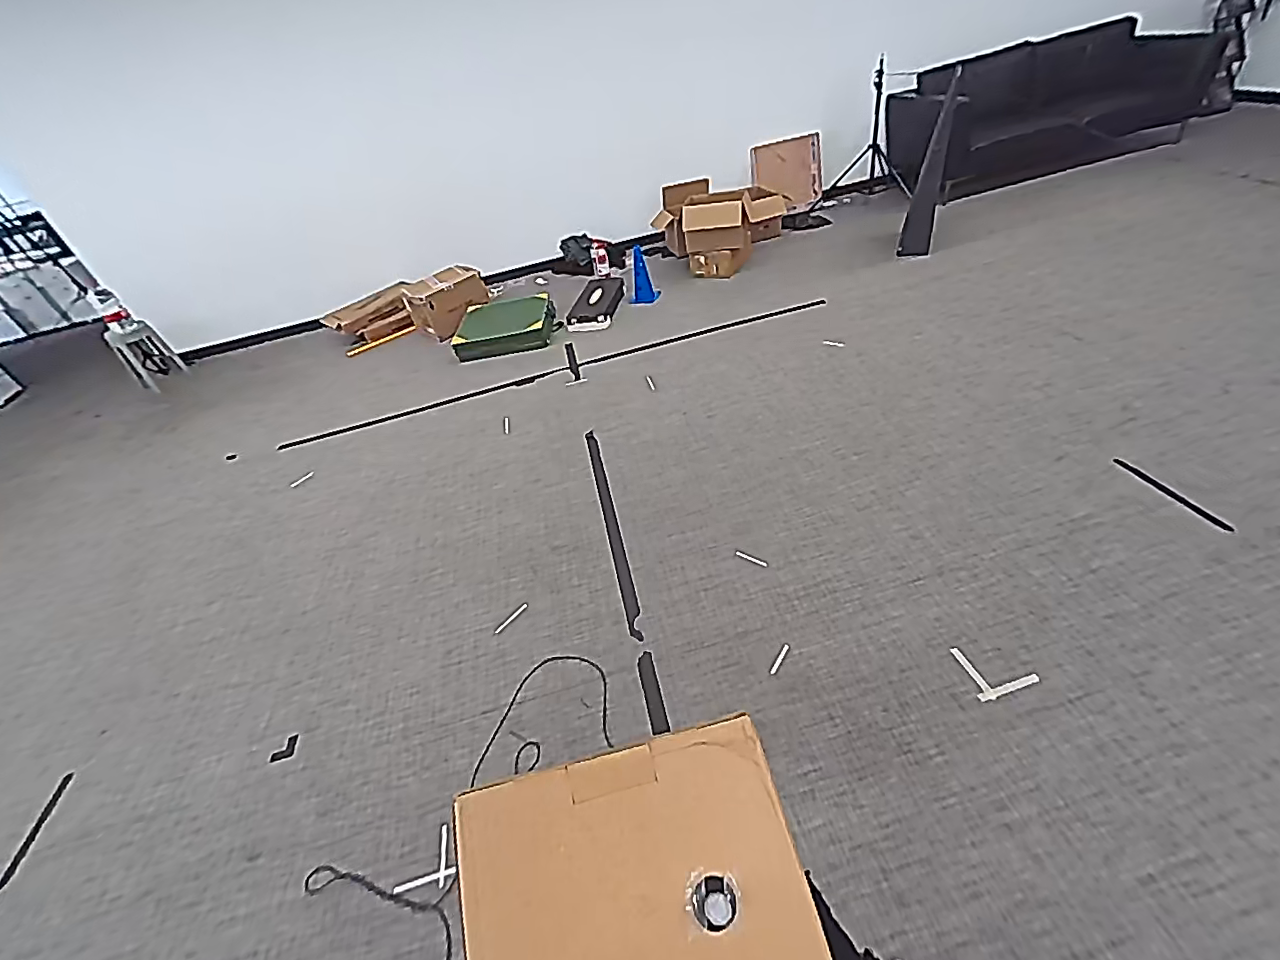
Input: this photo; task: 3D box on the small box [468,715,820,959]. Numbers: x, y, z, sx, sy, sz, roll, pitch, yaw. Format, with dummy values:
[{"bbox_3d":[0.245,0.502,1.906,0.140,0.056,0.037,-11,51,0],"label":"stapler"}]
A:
[{"bbox_3d":[0.003,0.264,0.345,0.168,0.179,0.176,-12,65,-7],"label":"small box"}]
